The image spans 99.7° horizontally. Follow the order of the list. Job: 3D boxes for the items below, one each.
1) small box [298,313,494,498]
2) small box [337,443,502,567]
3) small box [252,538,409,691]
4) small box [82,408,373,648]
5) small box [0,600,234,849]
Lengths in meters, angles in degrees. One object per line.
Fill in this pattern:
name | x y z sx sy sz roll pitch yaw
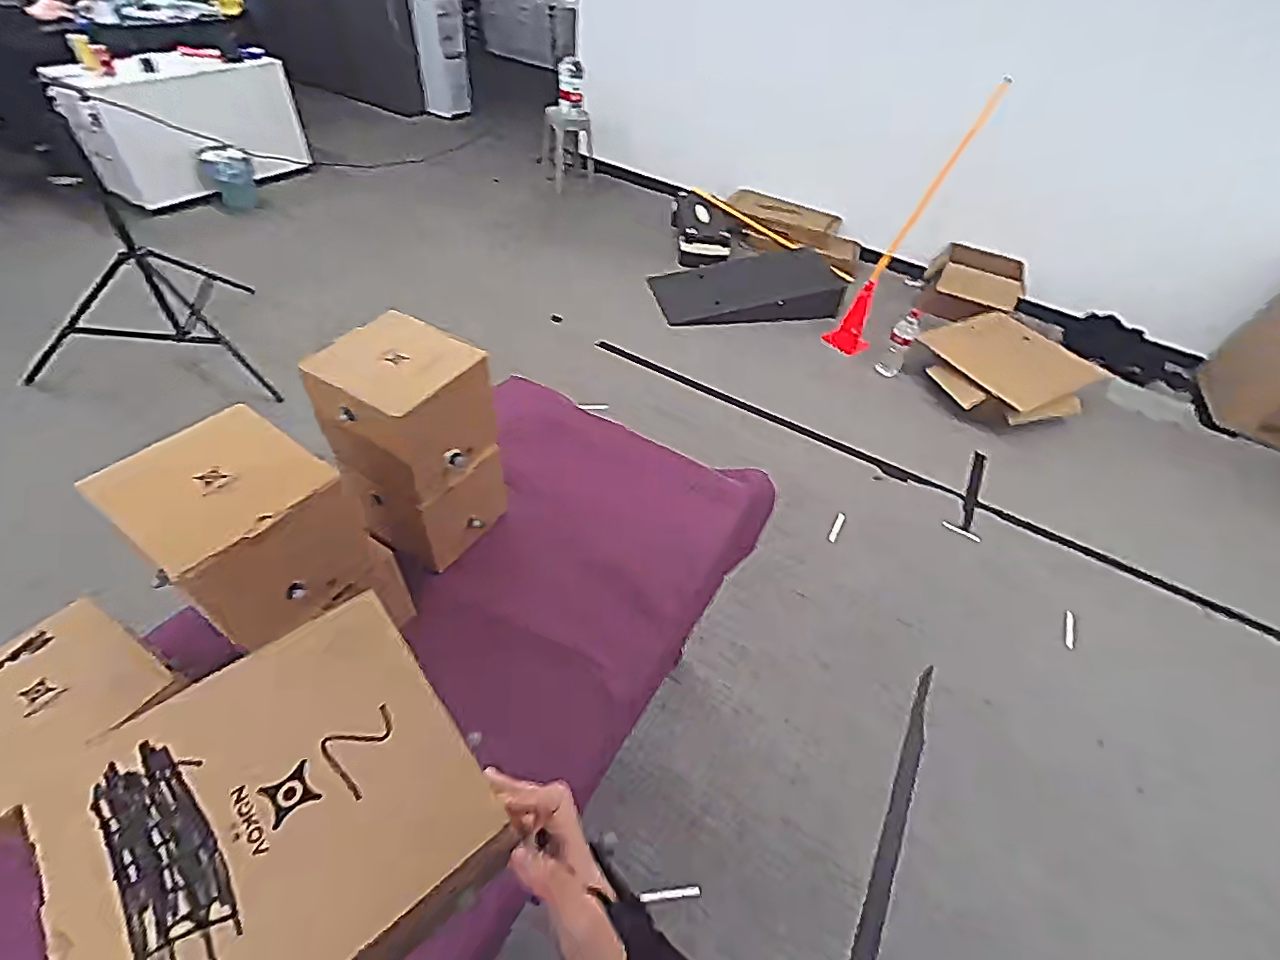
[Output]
small box | -0.330 -0.103 0.768 0.179 0.176 0.168 26 50 13
small box | -0.346 0.011 0.882 0.179 0.176 0.168 28 50 15
small box | -0.446 0.159 0.733 0.179 0.176 0.168 27 50 16
small box | -0.439 0.055 0.607 0.179 0.176 0.168 30 50 16
small box | -0.608 0.275 0.601 0.179 0.176 0.168 30 51 16
